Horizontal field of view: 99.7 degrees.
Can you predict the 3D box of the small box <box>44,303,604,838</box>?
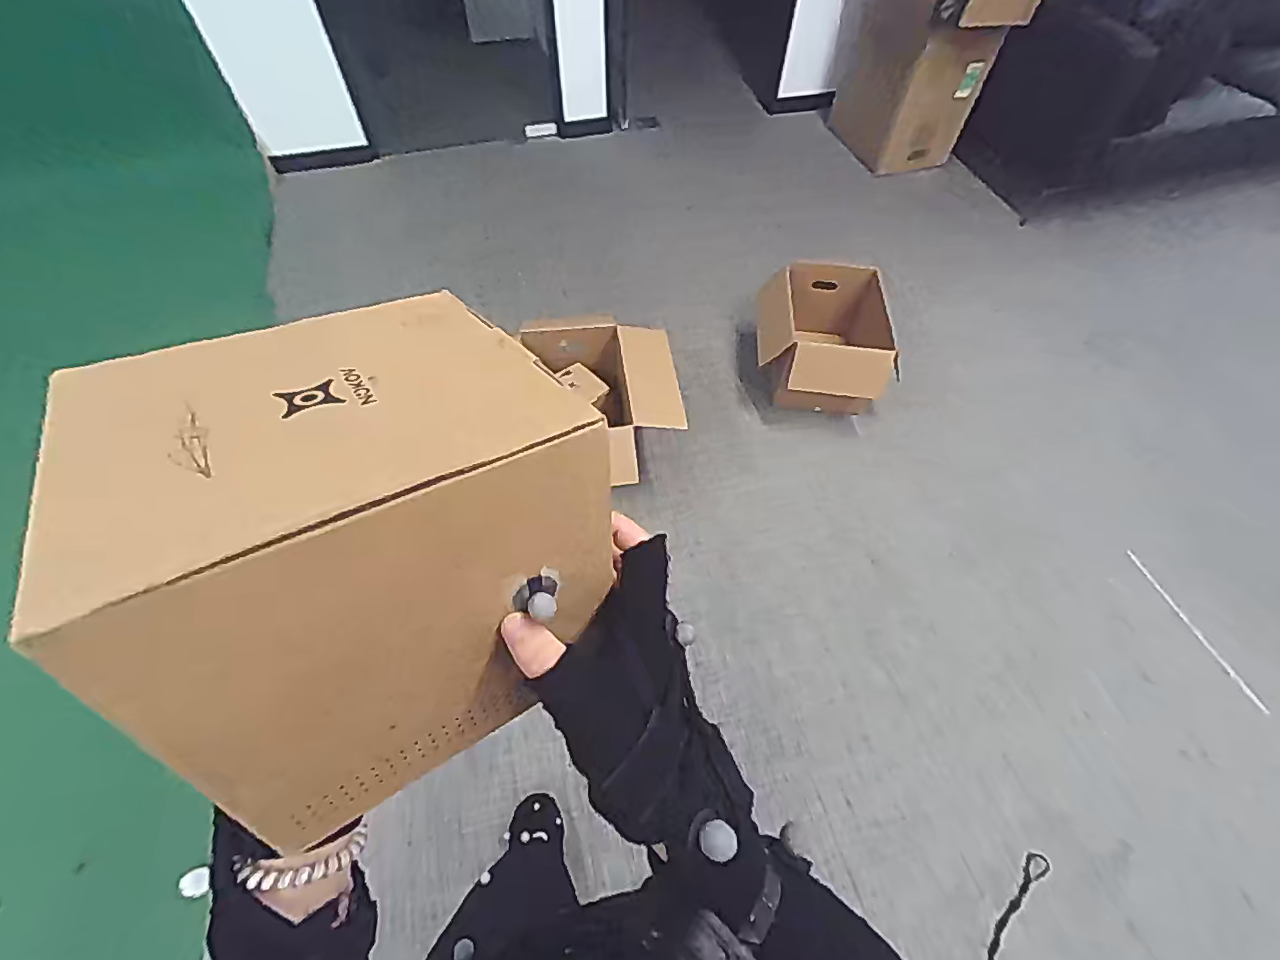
[{"bbox_3d":[-0.134,0.033,0.280,0.179,0.176,0.168,-25,46,-28],"label":"small box"}]
